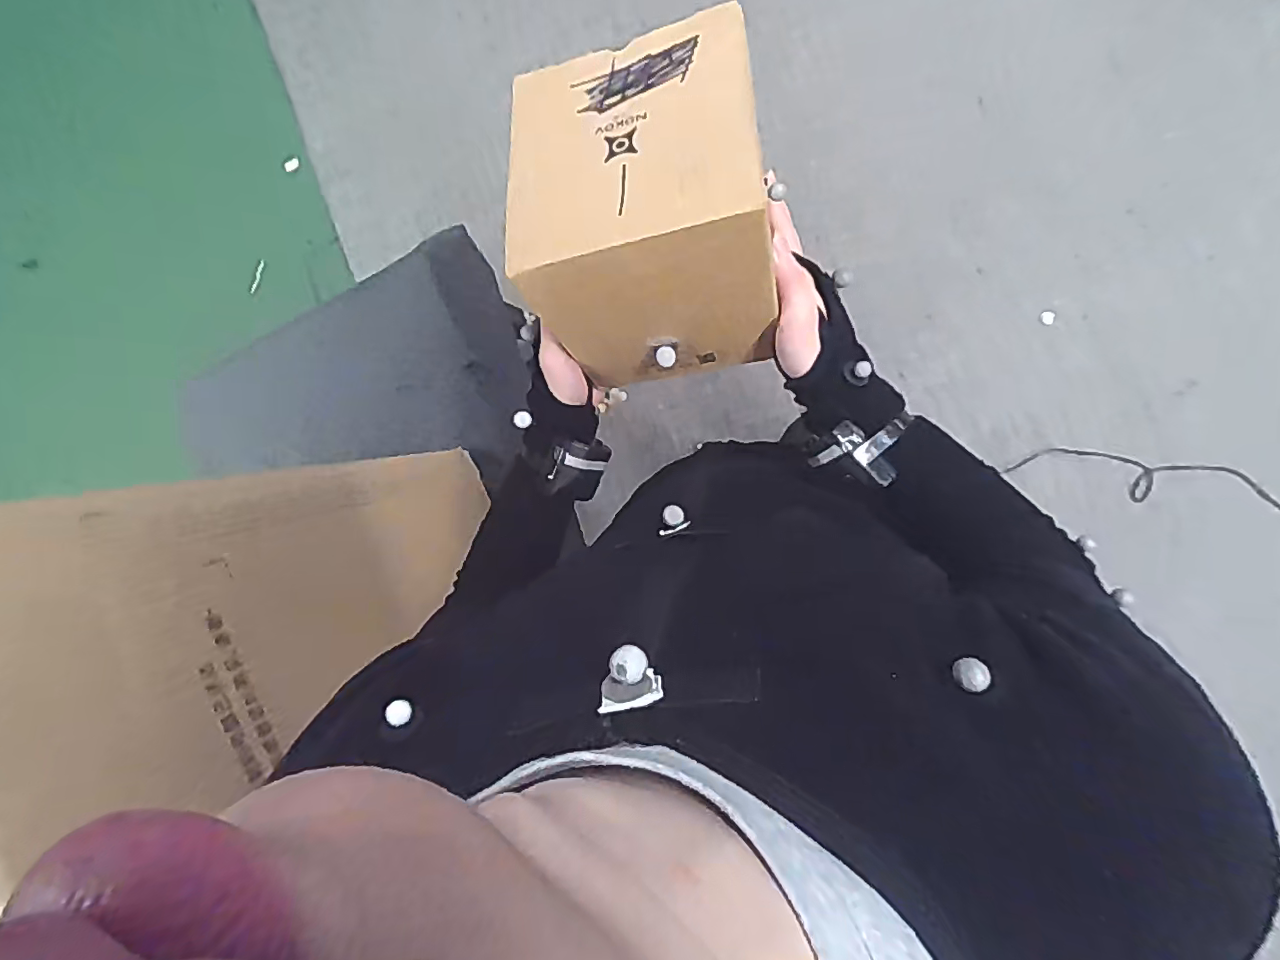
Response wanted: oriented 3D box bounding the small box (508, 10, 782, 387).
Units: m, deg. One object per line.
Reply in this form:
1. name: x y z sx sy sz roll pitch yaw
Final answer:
1. small box: 0.017 -0.196 0.422 0.168 0.176 0.179 -6 71 17
